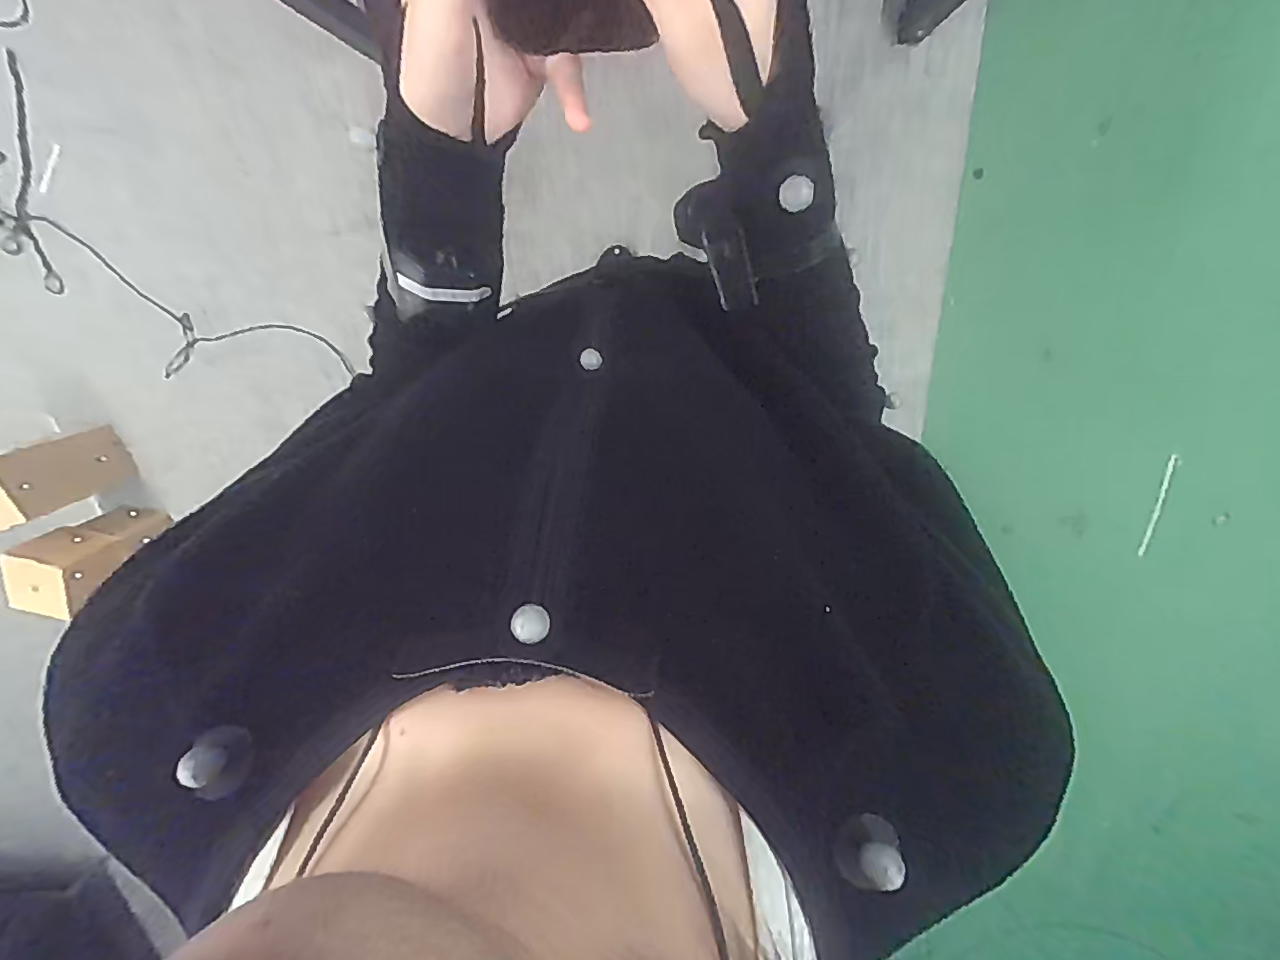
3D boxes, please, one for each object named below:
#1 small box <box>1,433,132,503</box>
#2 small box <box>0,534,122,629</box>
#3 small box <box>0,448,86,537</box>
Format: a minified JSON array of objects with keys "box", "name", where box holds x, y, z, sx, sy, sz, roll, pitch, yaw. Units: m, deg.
[{"box":[-1.637,-0.030,1.562,0.179,0.176,0.168,-8,111,7],"name":"small box"},{"box":[-1.604,0.278,1.507,0.168,0.176,0.179,15,110,-1],"name":"small box"},{"box":[-1.633,0.036,1.412,0.168,0.176,0.179,-13,110,7],"name":"small box"}]
